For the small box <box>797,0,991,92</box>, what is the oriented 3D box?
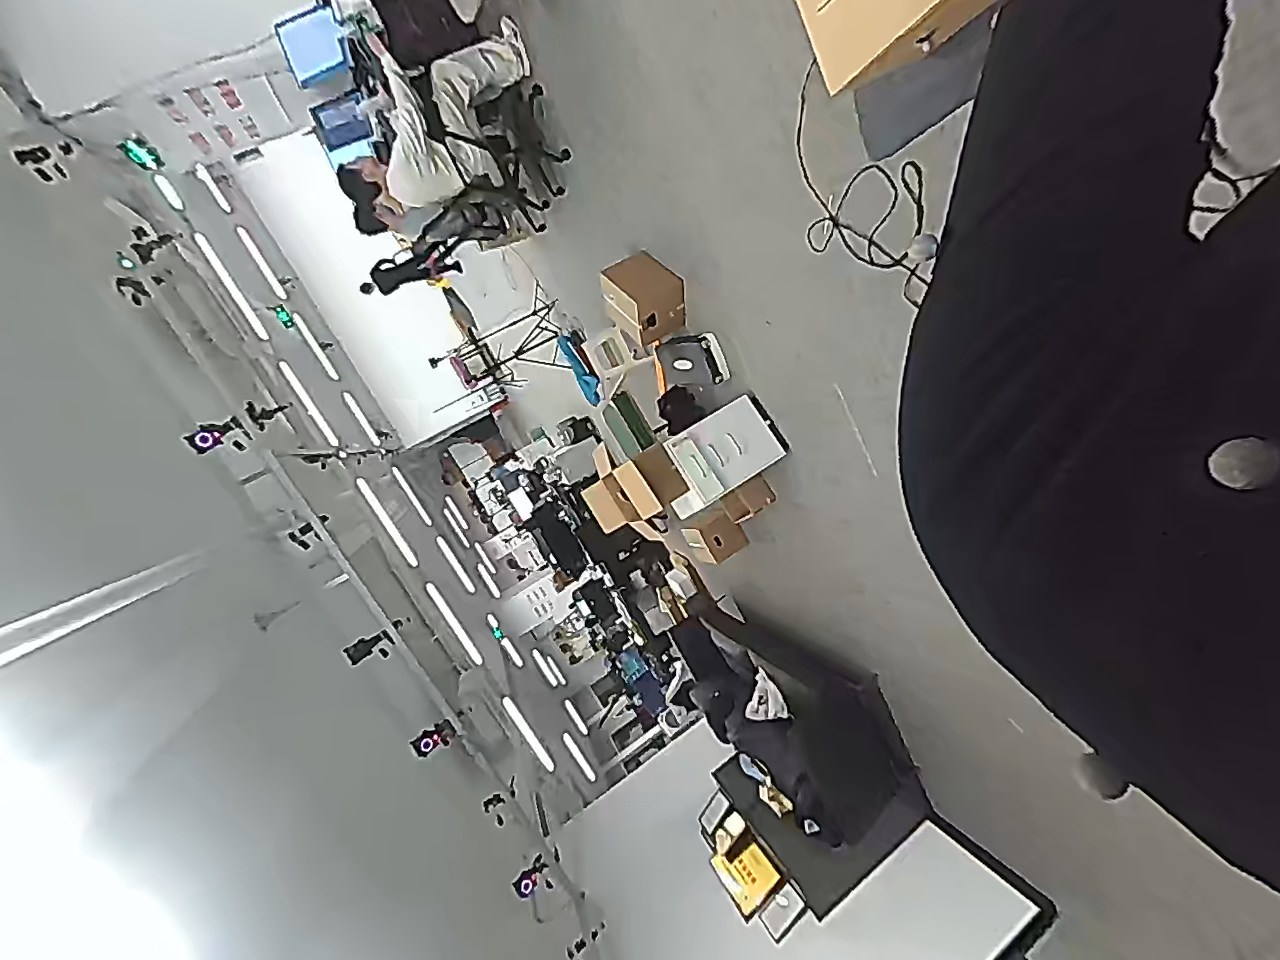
[{"bbox_3d":[0.293,-0.576,0.582,0.168,0.176,0.179,62,166,-14],"label":"small box"}]
